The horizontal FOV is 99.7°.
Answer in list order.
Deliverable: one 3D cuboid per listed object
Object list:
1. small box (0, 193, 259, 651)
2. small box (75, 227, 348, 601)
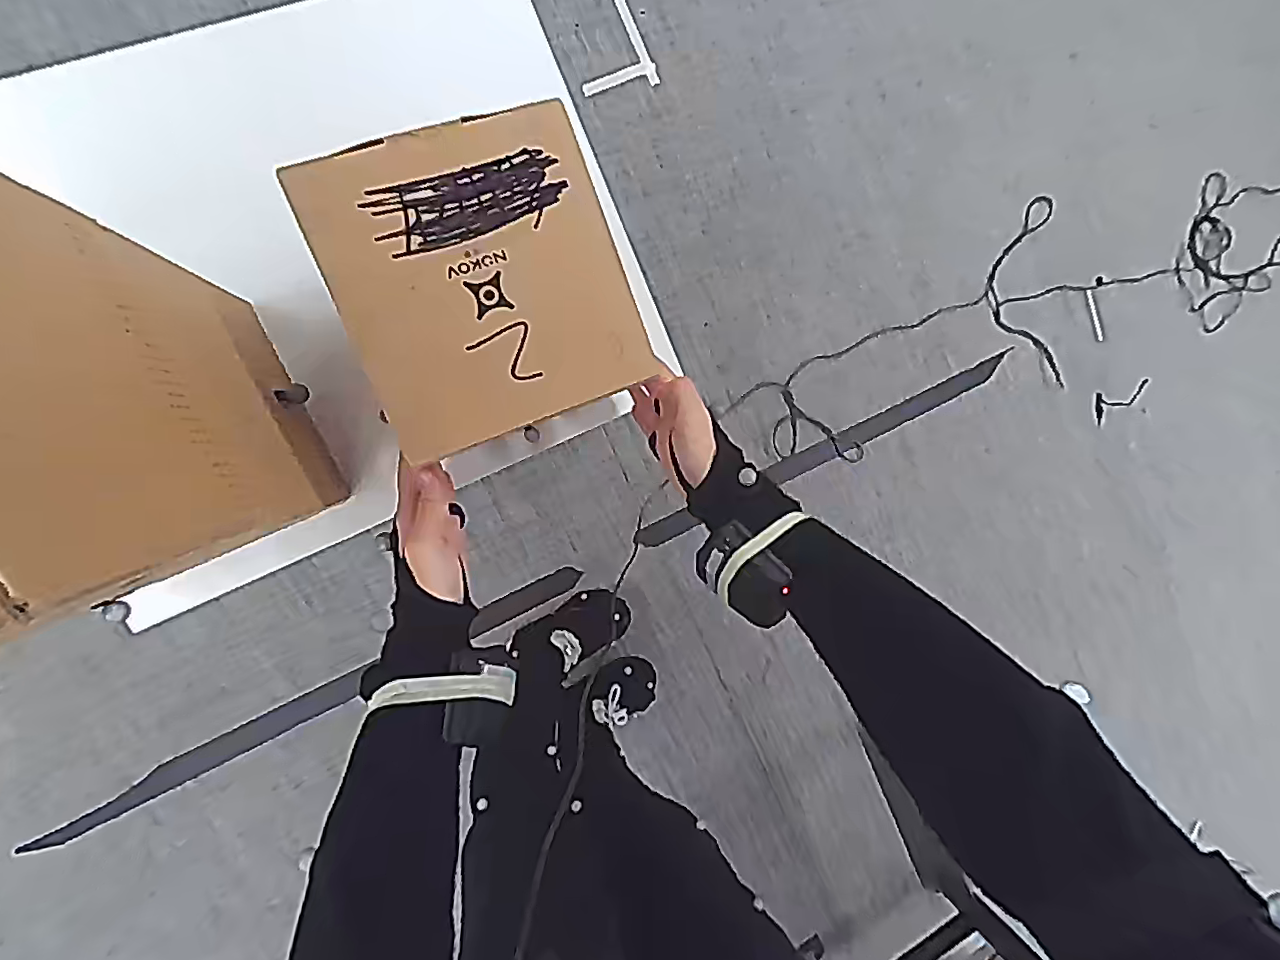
[{"bbox_3d":[-0.287,-0.010,0.191,0.168,0.176,0.179,-27,100,-10],"label":"small box"},{"bbox_3d":[-0.326,-0.023,0.348,0.168,0.176,0.179,-25,99,-10],"label":"small box"}]
